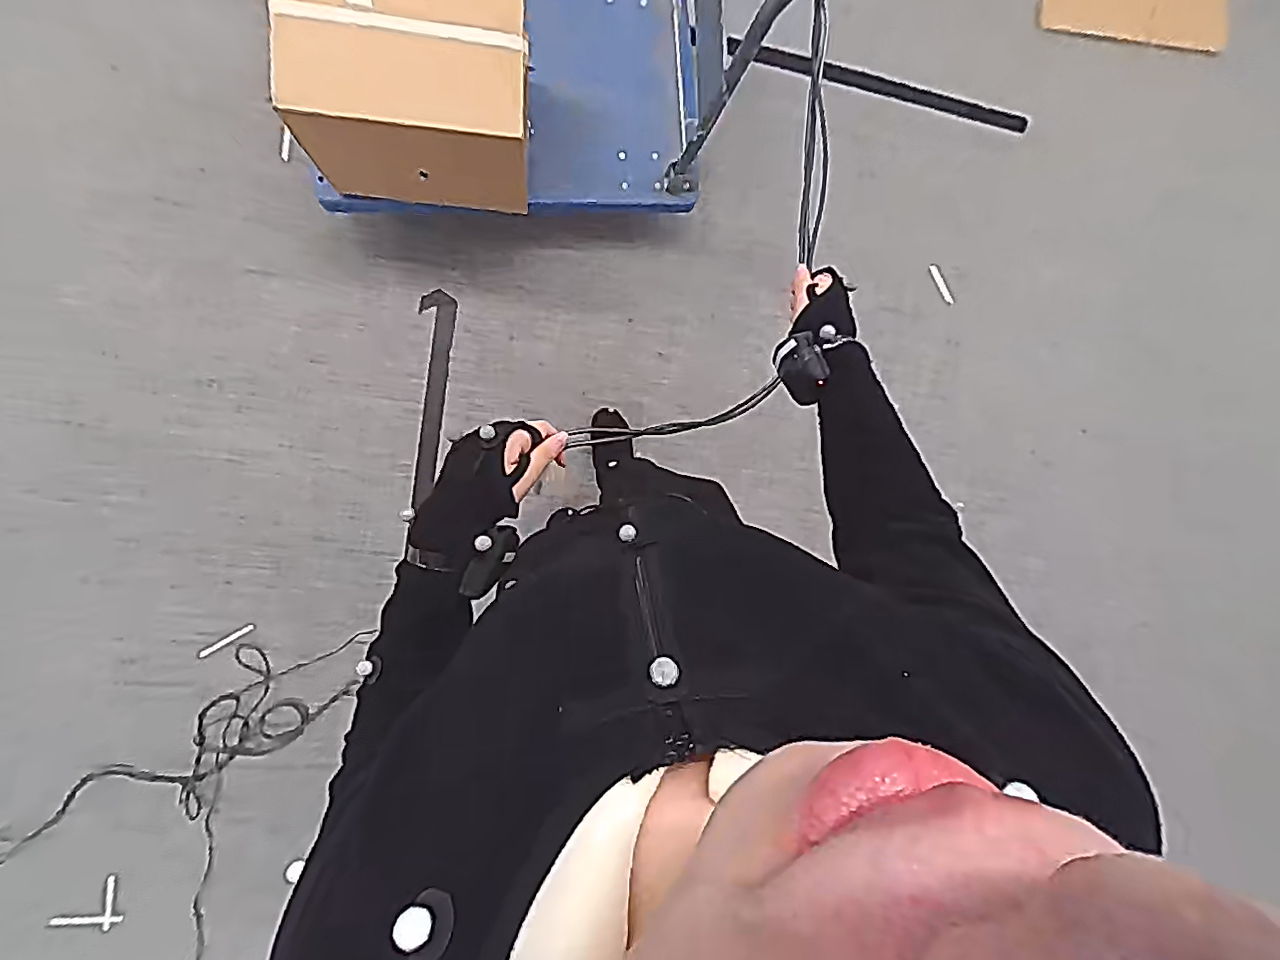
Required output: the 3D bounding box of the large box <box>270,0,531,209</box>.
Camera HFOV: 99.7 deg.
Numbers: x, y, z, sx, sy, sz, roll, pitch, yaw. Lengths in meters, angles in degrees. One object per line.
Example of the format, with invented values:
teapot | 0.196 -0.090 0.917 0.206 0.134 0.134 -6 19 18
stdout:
large box | -0.422 -0.755 1.048 0.408 0.320 0.320 0 92 -10
